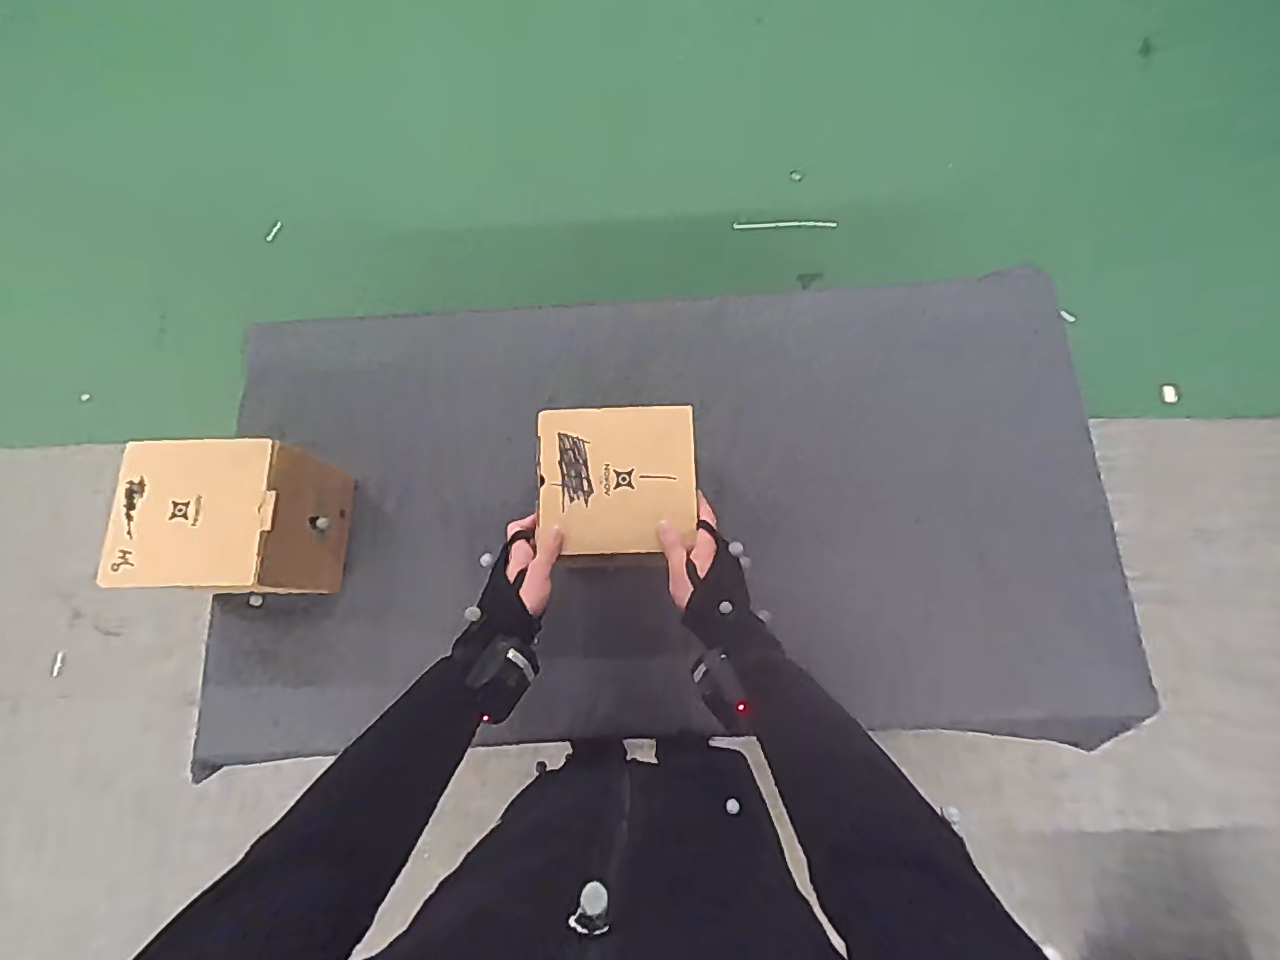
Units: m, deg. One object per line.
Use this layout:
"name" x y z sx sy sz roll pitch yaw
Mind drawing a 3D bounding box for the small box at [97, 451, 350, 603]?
"small box" -0.491 0.065 0.669 0.179 0.176 0.168 -1 76 1

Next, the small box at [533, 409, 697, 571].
"small box" -0.025 0.022 0.662 0.179 0.176 0.168 -2 76 1
